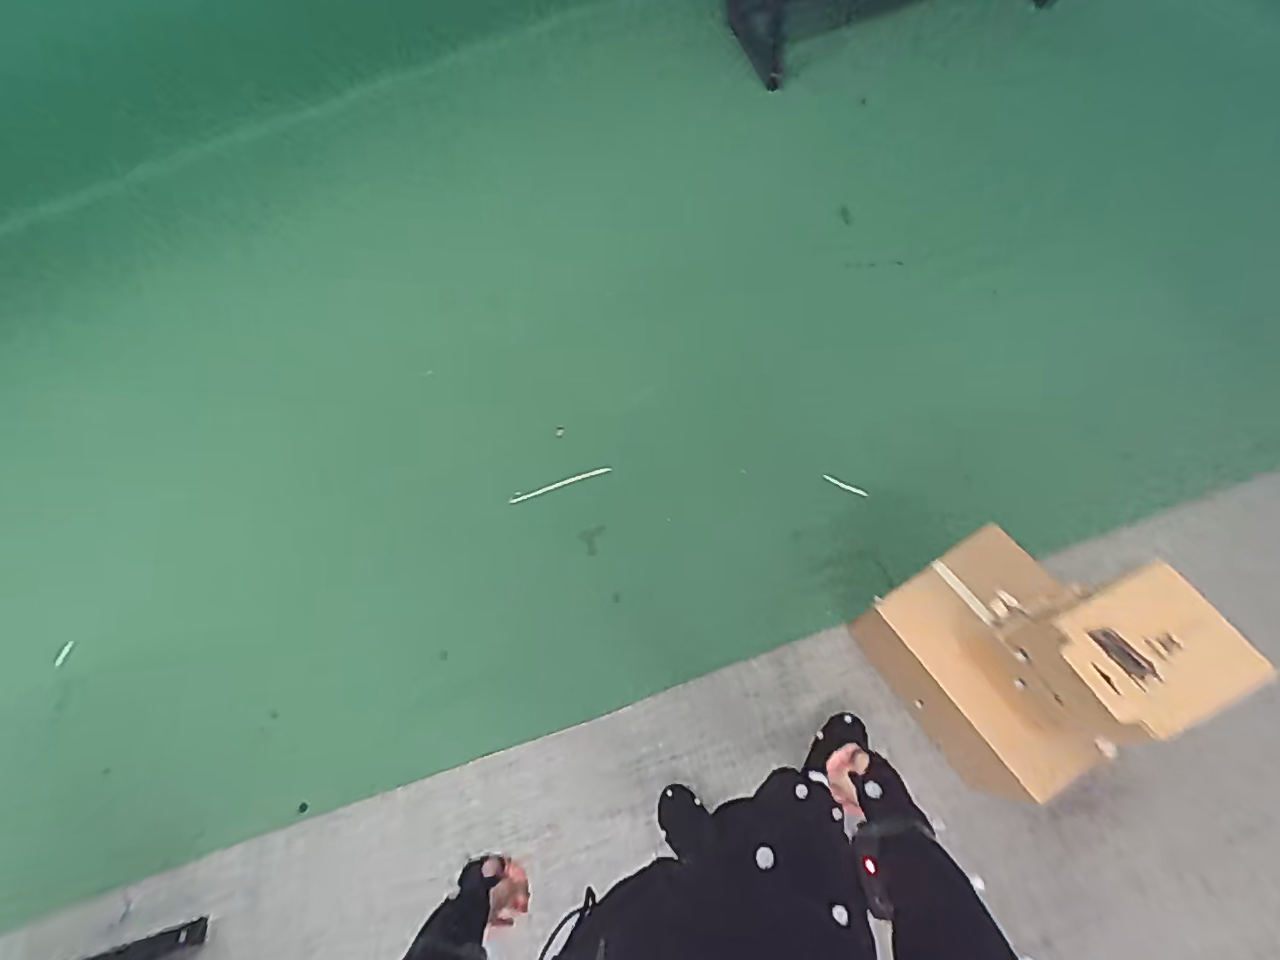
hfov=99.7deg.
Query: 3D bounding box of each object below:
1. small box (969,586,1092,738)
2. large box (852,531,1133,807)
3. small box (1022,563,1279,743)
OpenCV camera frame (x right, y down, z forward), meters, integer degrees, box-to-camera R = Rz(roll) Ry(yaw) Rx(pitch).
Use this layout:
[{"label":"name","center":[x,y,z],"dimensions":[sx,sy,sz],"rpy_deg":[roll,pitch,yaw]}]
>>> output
[{"label":"small box","center":[0.698,0.307,0.902],"dimensions":[0.168,0.176,0.179],"rpy_deg":[-30,64,-2]},{"label":"large box","center":[0.723,0.389,1.133],"dimensions":[0.320,0.320,0.408],"rpy_deg":[-32,63,-6]},{"label":"small box","center":[0.679,0.246,0.751],"dimensions":[0.179,0.176,0.168],"rpy_deg":[-28,64,-2]}]
